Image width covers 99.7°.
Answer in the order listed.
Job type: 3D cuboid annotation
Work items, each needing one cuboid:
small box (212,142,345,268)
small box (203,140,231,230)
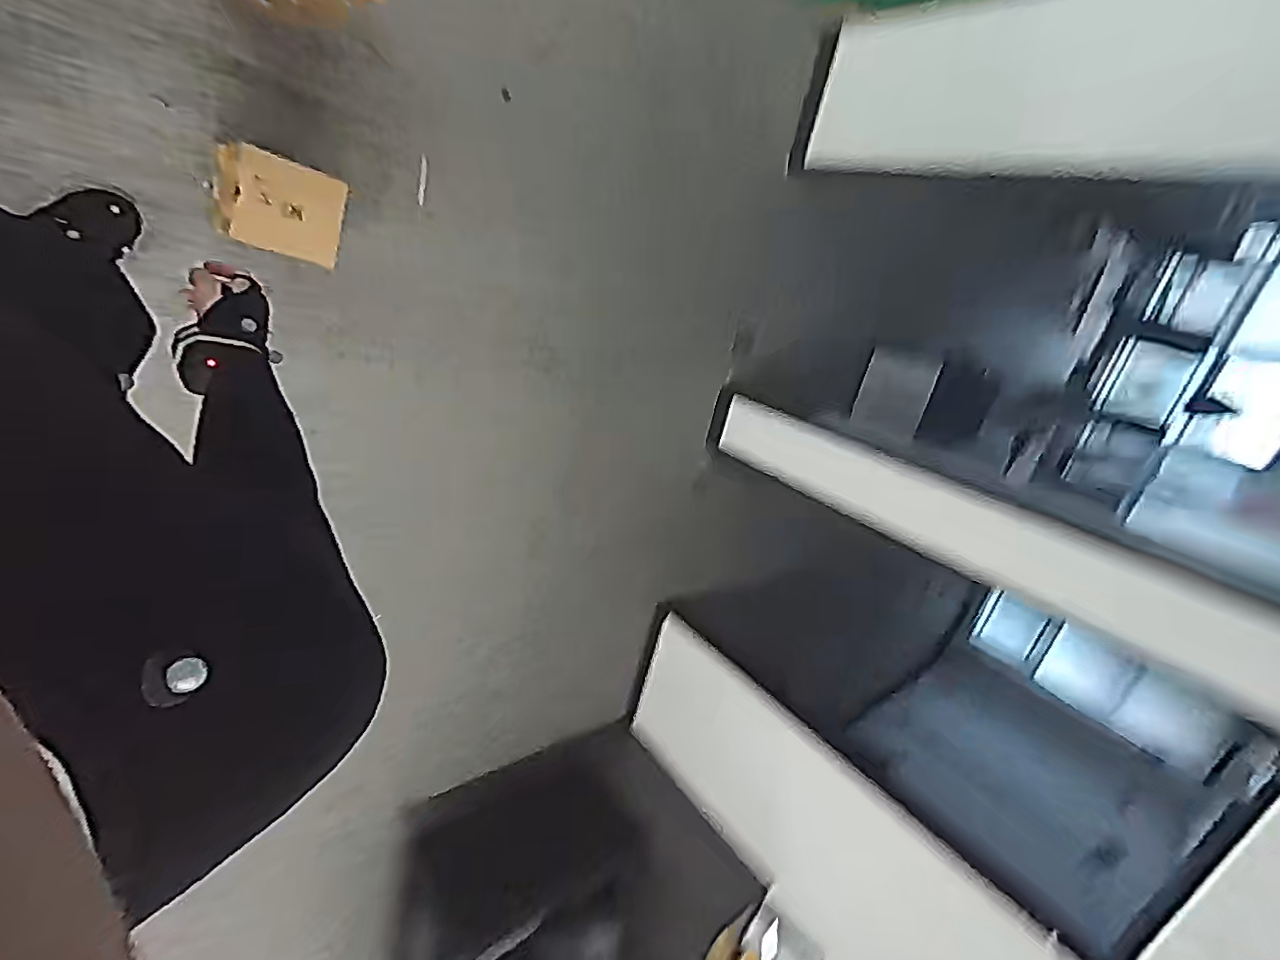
[{"bbox_3d":[-0.714,-0.540,1.066,0.179,0.176,0.168,6,109,-45],"label":"small box"},{"bbox_3d":[-0.826,-0.607,1.168,0.179,0.176,0.168,1,114,-43],"label":"small box"}]
